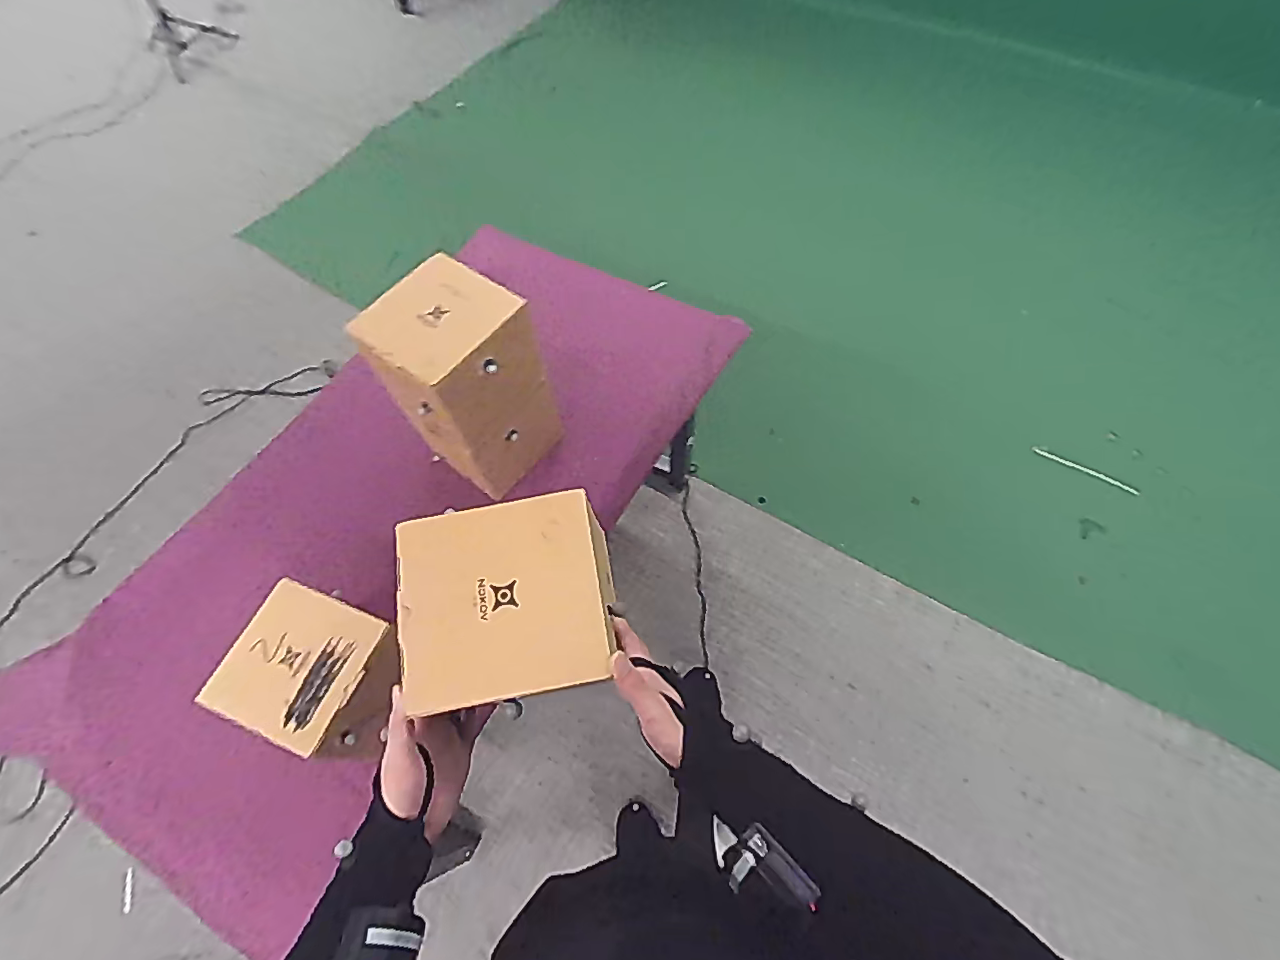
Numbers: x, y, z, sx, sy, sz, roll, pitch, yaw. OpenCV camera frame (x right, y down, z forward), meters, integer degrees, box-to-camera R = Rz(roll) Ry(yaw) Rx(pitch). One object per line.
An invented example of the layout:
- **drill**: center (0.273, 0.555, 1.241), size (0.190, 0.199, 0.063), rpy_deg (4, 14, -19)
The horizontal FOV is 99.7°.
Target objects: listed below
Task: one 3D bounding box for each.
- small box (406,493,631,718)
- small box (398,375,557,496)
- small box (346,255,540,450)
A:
- **small box**: center (-0.107, 0.125, 0.537), size (0.179, 0.176, 0.168), rpy_deg (-11, 72, 1)
- **small box**: center (-0.261, -0.103, 0.919), size (0.168, 0.176, 0.179), rpy_deg (34, 68, 17)
- **small box**: center (-0.263, -0.174, 0.772), size (0.168, 0.176, 0.179), rpy_deg (33, 68, 16)
